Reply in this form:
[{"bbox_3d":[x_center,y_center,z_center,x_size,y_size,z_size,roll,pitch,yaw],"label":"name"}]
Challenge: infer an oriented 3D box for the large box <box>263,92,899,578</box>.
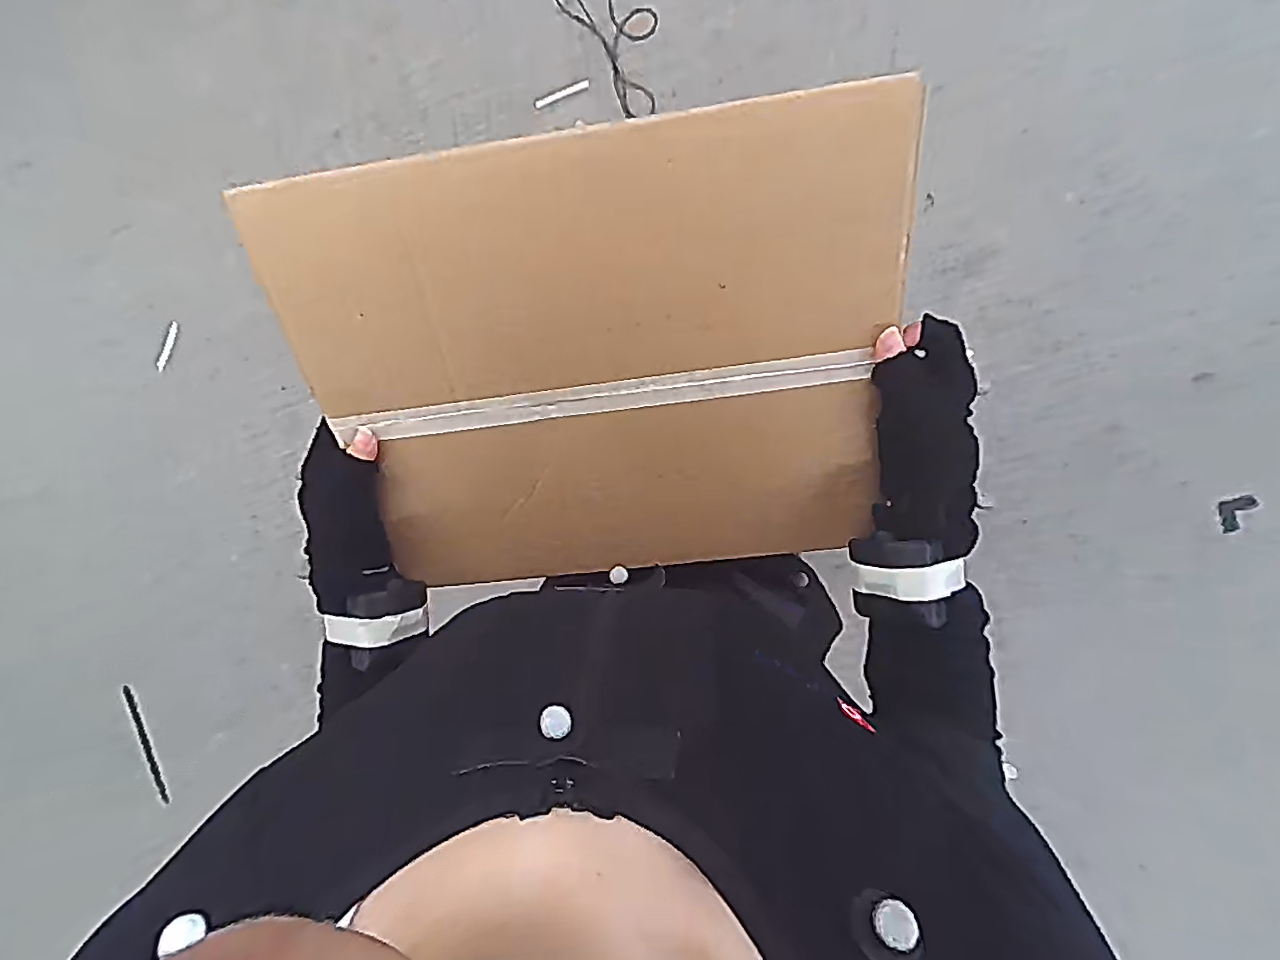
[{"bbox_3d":[-0.020,-0.141,0.525,0.408,0.320,0.320,-7,120,5],"label":"large box"}]
